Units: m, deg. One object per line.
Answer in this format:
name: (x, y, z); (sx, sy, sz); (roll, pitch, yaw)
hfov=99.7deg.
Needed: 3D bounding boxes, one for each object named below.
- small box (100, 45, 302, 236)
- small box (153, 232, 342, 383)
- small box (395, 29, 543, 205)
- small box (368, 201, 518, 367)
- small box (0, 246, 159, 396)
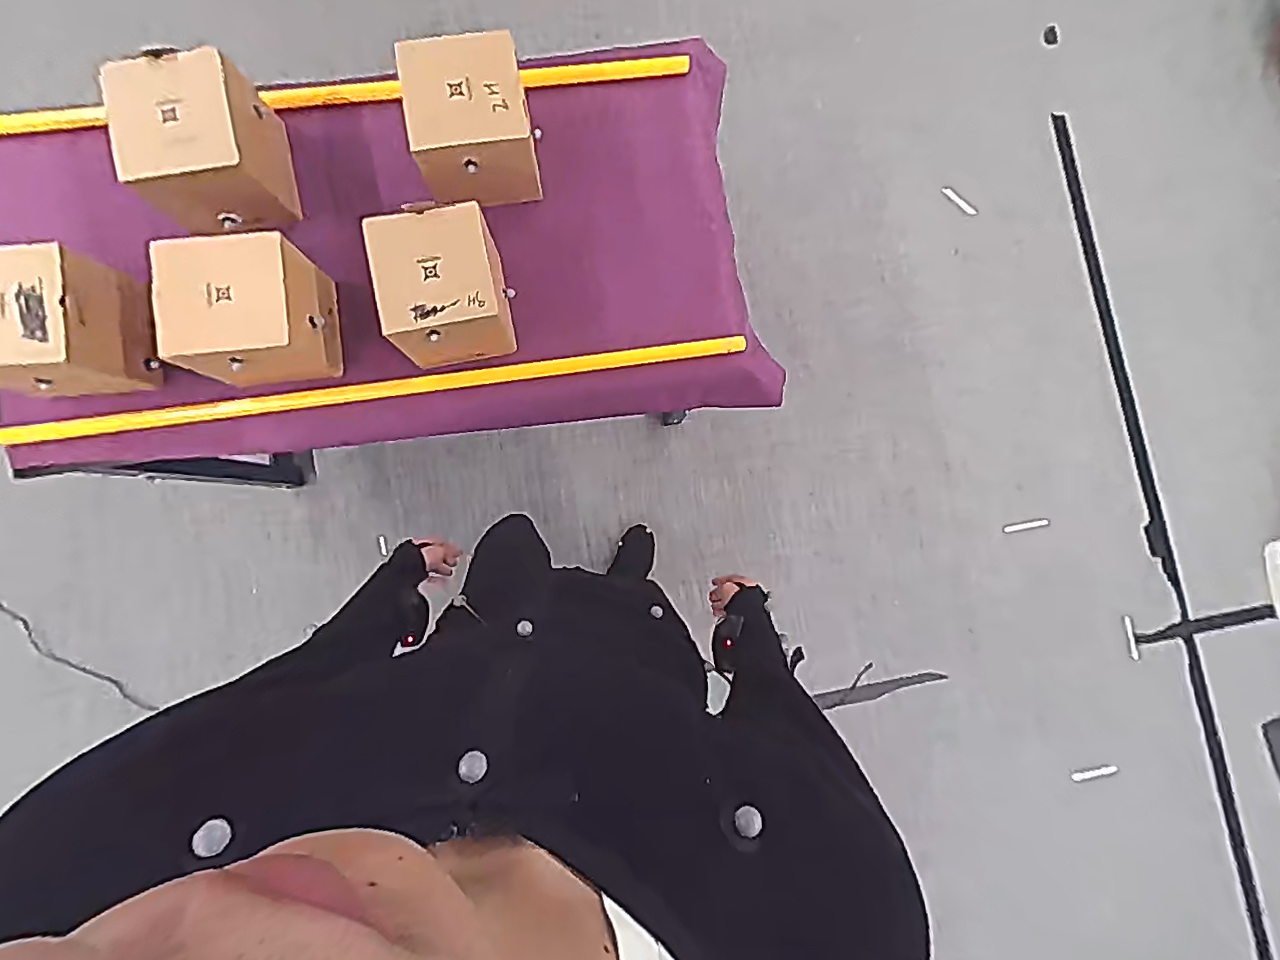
small box: (-0.659, -0.510, 0.832); (0.168, 0.176, 0.179); (-12, 89, -4)
small box: (-0.578, -0.252, 0.823); (0.179, 0.176, 0.168); (-7, 87, -4)
small box: (-0.262, -0.563, 0.862); (0.179, 0.176, 0.168); (-9, 89, -4)
small box: (-0.297, -0.296, 0.844); (0.168, 0.176, 0.179); (-12, 85, -4)
small box: (-0.859, -0.225, 0.799); (0.179, 0.176, 0.168); (-5, 87, -4)
